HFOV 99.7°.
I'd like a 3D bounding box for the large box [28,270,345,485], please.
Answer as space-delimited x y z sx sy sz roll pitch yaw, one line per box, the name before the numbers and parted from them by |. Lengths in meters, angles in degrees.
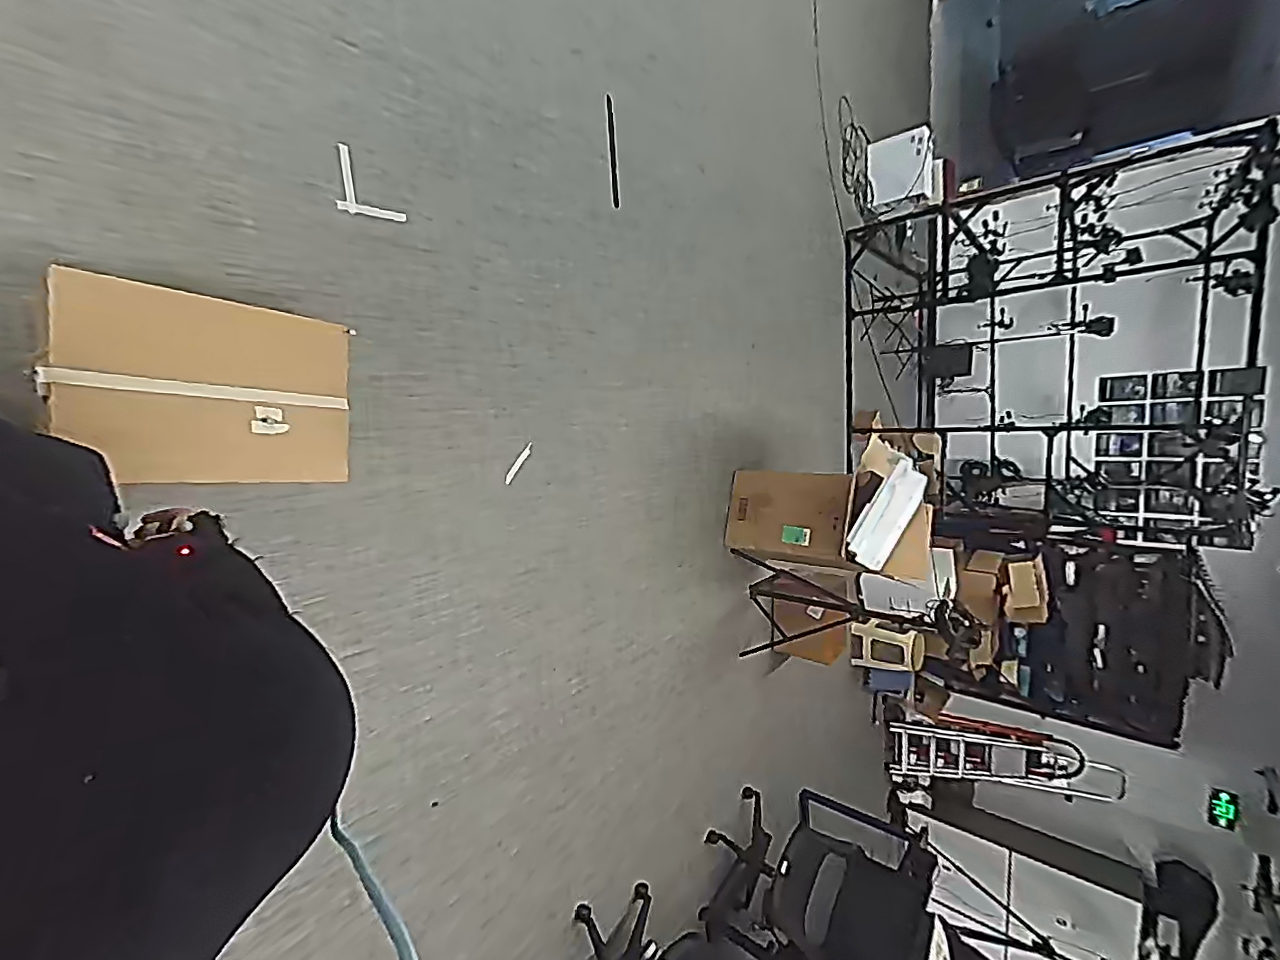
large box | -0.829 -0.157 1.012 0.408 0.320 0.320 -1 94 -51
